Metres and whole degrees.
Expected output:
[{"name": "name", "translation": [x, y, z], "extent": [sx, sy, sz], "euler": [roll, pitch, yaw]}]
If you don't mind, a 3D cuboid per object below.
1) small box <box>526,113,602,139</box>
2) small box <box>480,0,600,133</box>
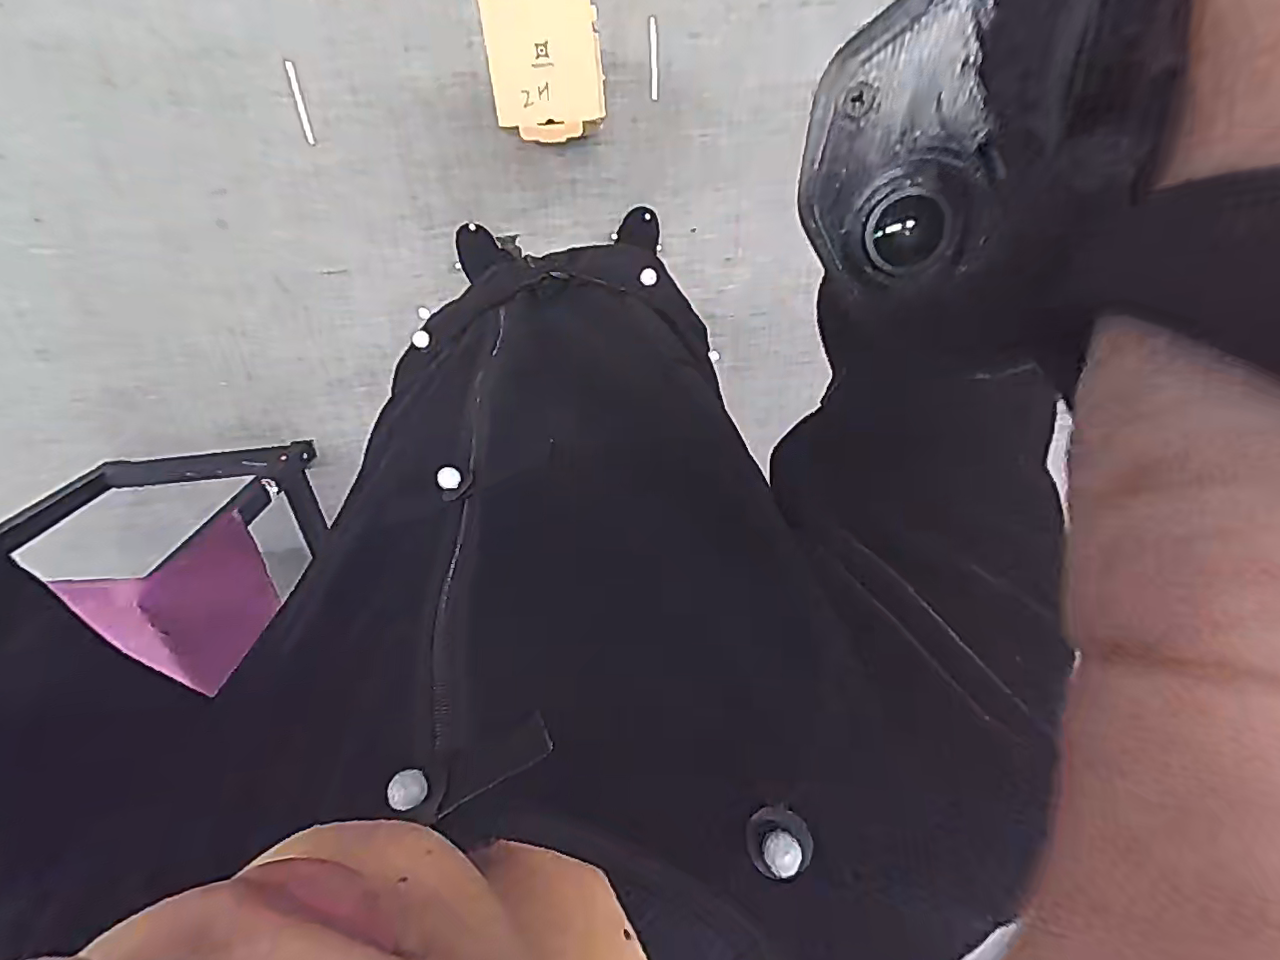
[{"name": "small box", "translation": [-0.177, -0.853, 1.174], "extent": [0.168, 0.176, 0.179], "euler": [-9, 119, -2]}, {"name": "small box", "translation": [-0.160, -0.685, 0.888], "extent": [0.168, 0.176, 0.179], "euler": [-7, 119, -4]}]
